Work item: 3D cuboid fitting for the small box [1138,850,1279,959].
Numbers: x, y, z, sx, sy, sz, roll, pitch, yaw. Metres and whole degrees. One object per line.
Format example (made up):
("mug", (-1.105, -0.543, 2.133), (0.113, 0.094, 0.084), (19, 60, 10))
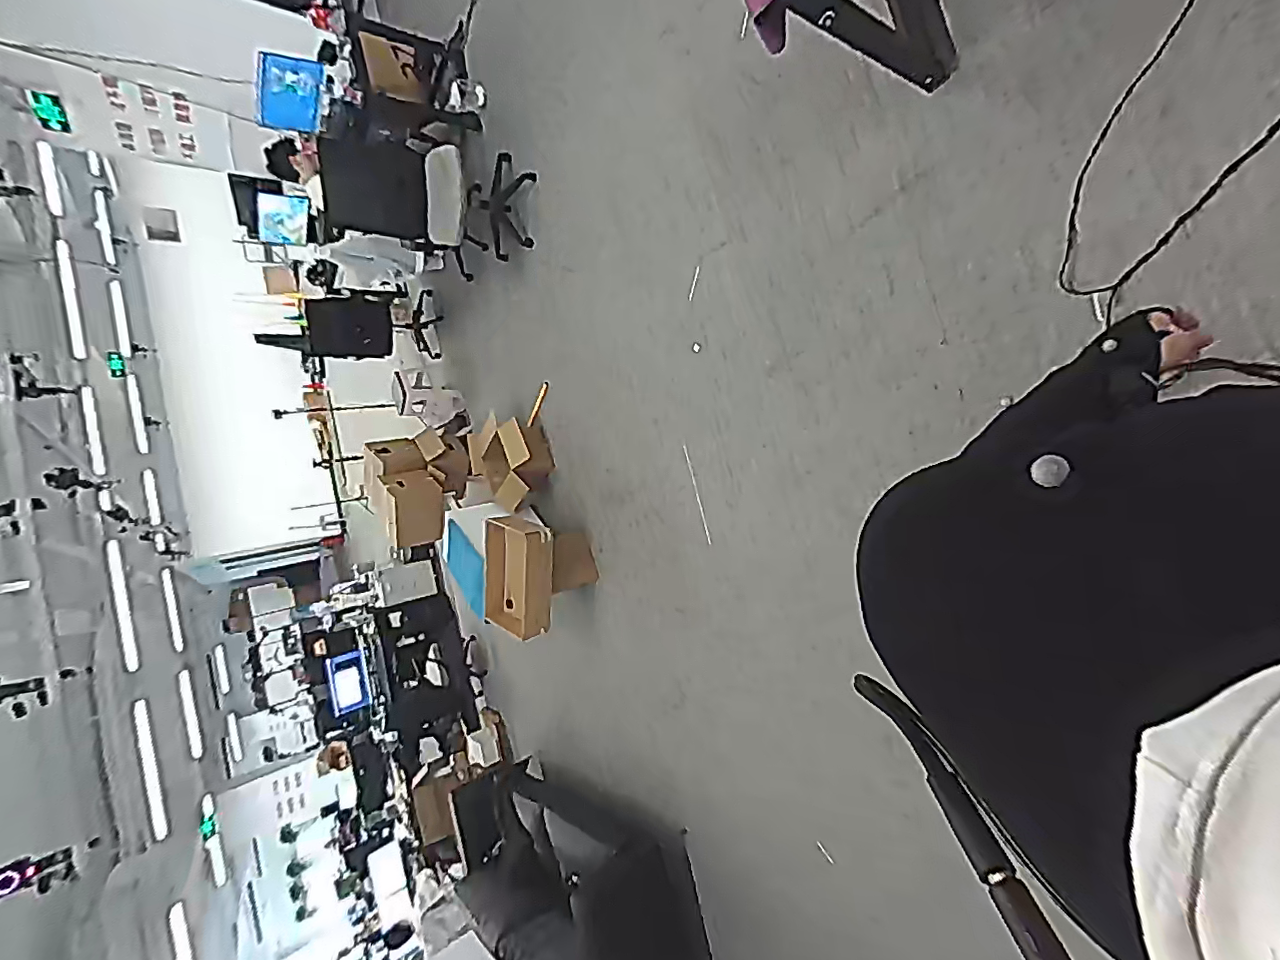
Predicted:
("small box", (1.144, 0.882, 1.073), (0.168, 0.176, 0.179), (-29, 75, 54))
